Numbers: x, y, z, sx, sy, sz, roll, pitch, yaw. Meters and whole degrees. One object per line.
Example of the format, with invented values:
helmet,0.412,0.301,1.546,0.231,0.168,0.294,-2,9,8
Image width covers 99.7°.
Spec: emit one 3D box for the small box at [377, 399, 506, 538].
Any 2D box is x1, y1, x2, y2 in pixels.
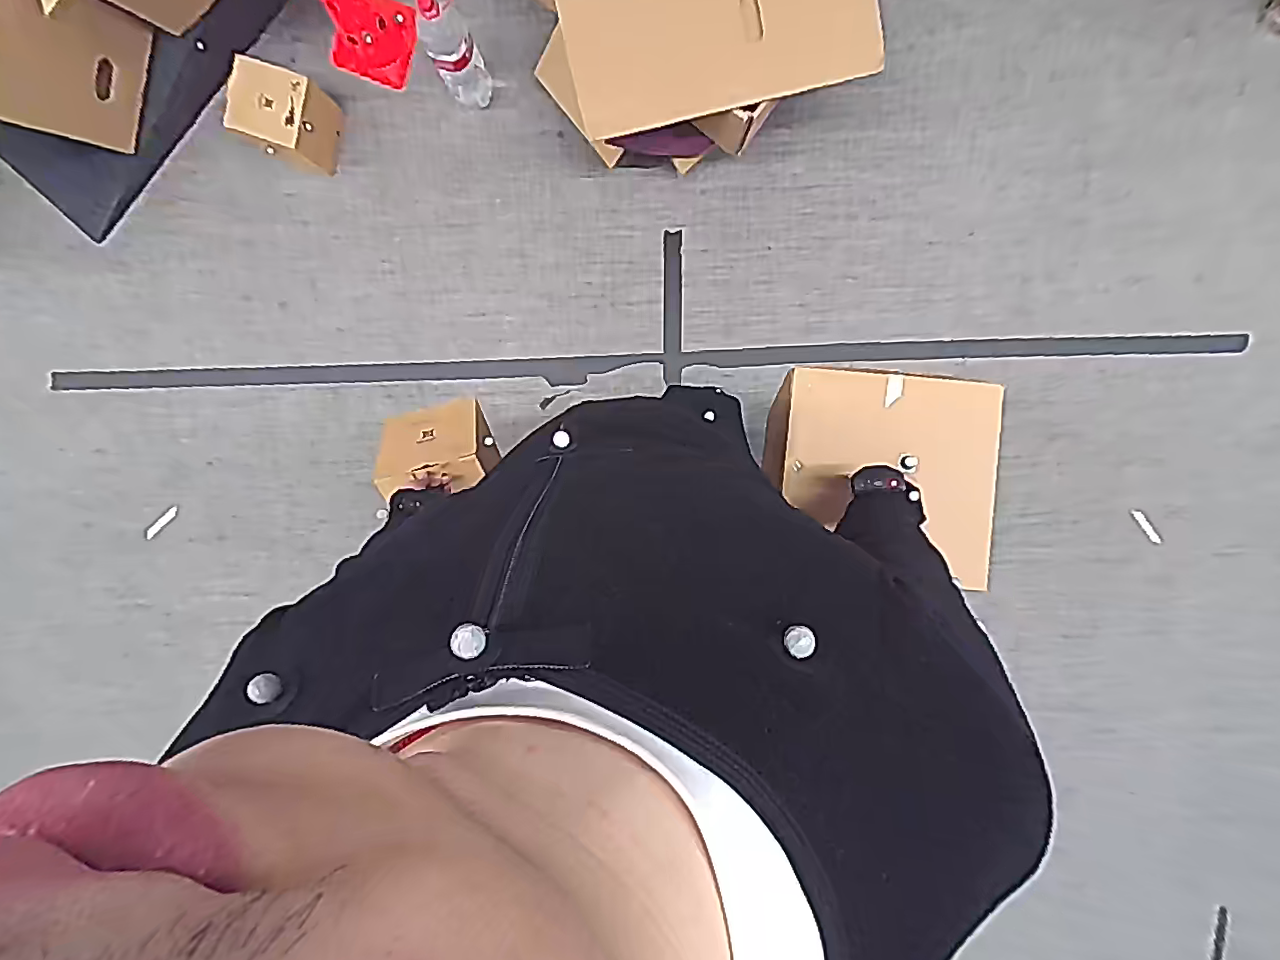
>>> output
small box,-0.345,-0.014,0.972,0.168,0.179,0.176,-14,133,-4
